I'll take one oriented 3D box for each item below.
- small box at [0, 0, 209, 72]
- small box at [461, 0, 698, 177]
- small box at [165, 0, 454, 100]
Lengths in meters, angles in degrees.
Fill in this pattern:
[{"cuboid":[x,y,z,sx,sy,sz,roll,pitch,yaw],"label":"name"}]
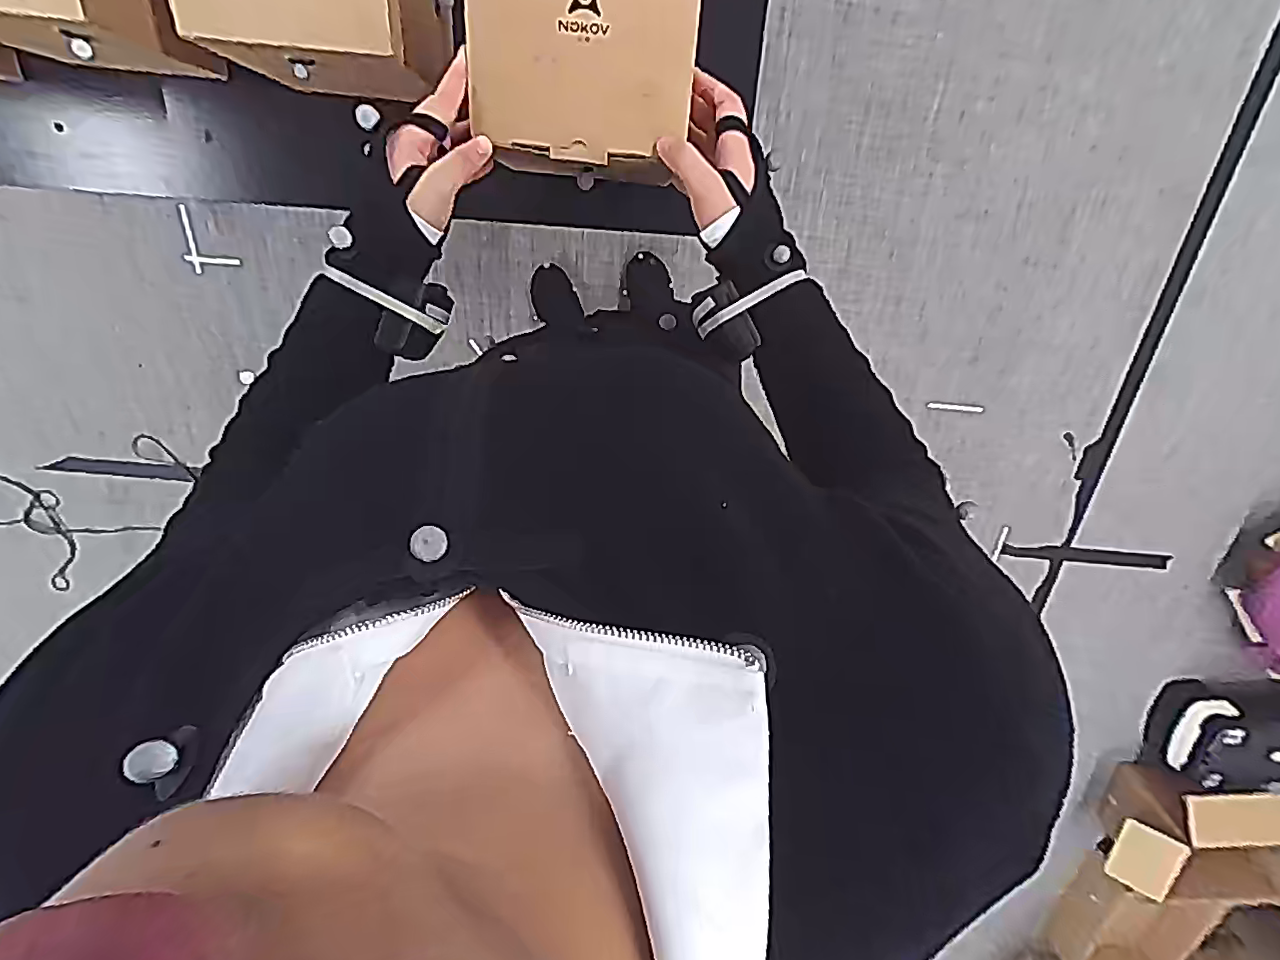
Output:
[{"cuboid":[-0.520,-0.479,0.467,0.179,0.176,0.168,5,113,-2],"label":"small box"},{"cuboid":[-0.042,-0.359,0.445,0.168,0.176,0.179,4,115,-3],"label":"small box"},{"cuboid":[-0.280,-0.456,0.476,0.179,0.176,0.168,4,114,-2],"label":"small box"}]
